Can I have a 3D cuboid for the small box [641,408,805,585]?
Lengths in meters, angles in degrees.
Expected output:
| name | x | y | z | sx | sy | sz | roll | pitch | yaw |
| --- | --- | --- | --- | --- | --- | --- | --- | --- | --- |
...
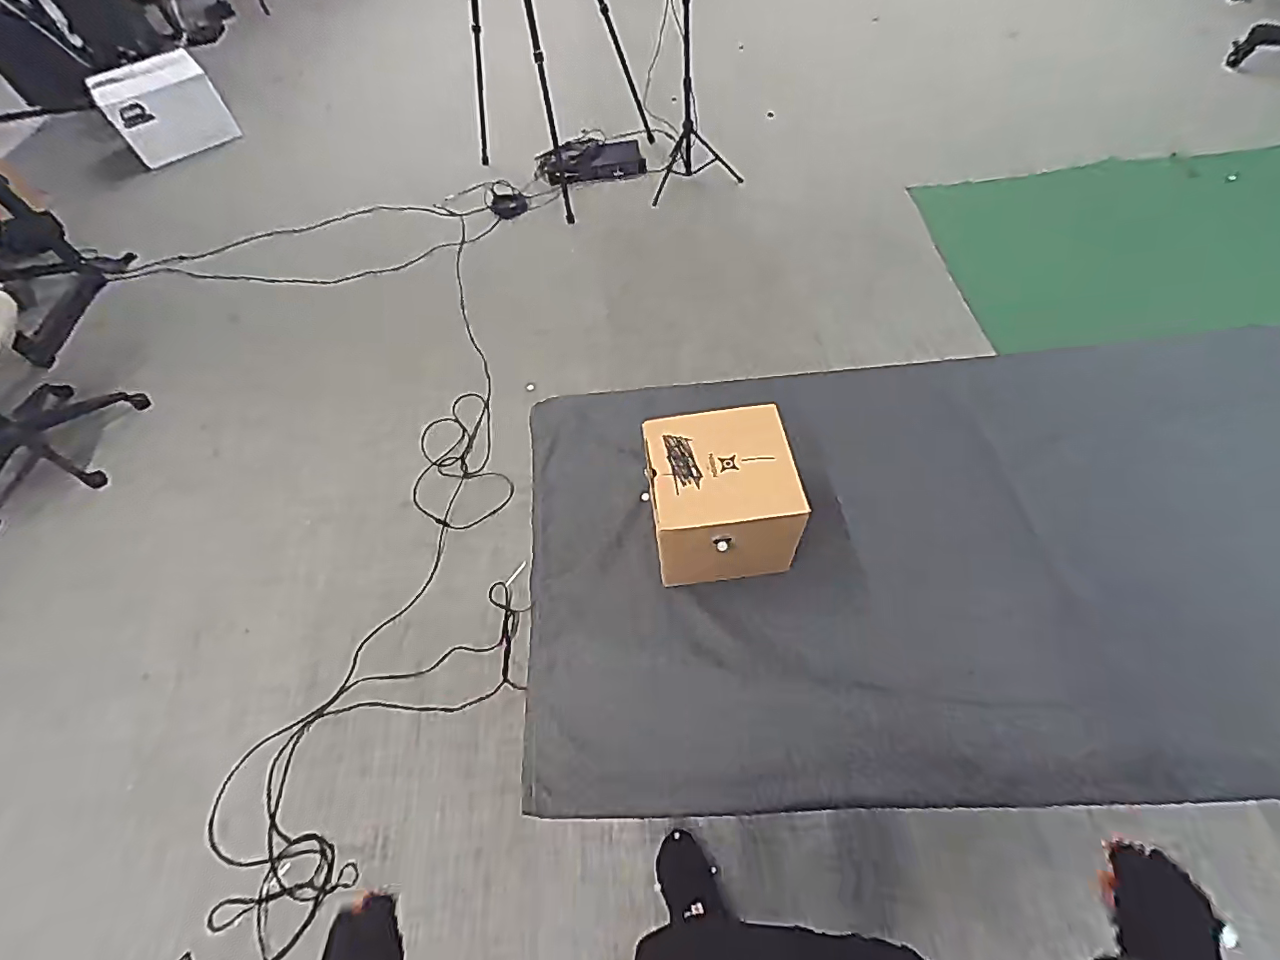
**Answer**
| name | x | y | z | sx | sy | sz | roll | pitch | yaw |
| --- | --- | --- | --- | --- | --- | --- | --- | --- | --- |
| small box | 0.102 | 0.029 | 0.722 | 0.179 | 0.176 | 0.168 | -7 | 57 | 0 |
